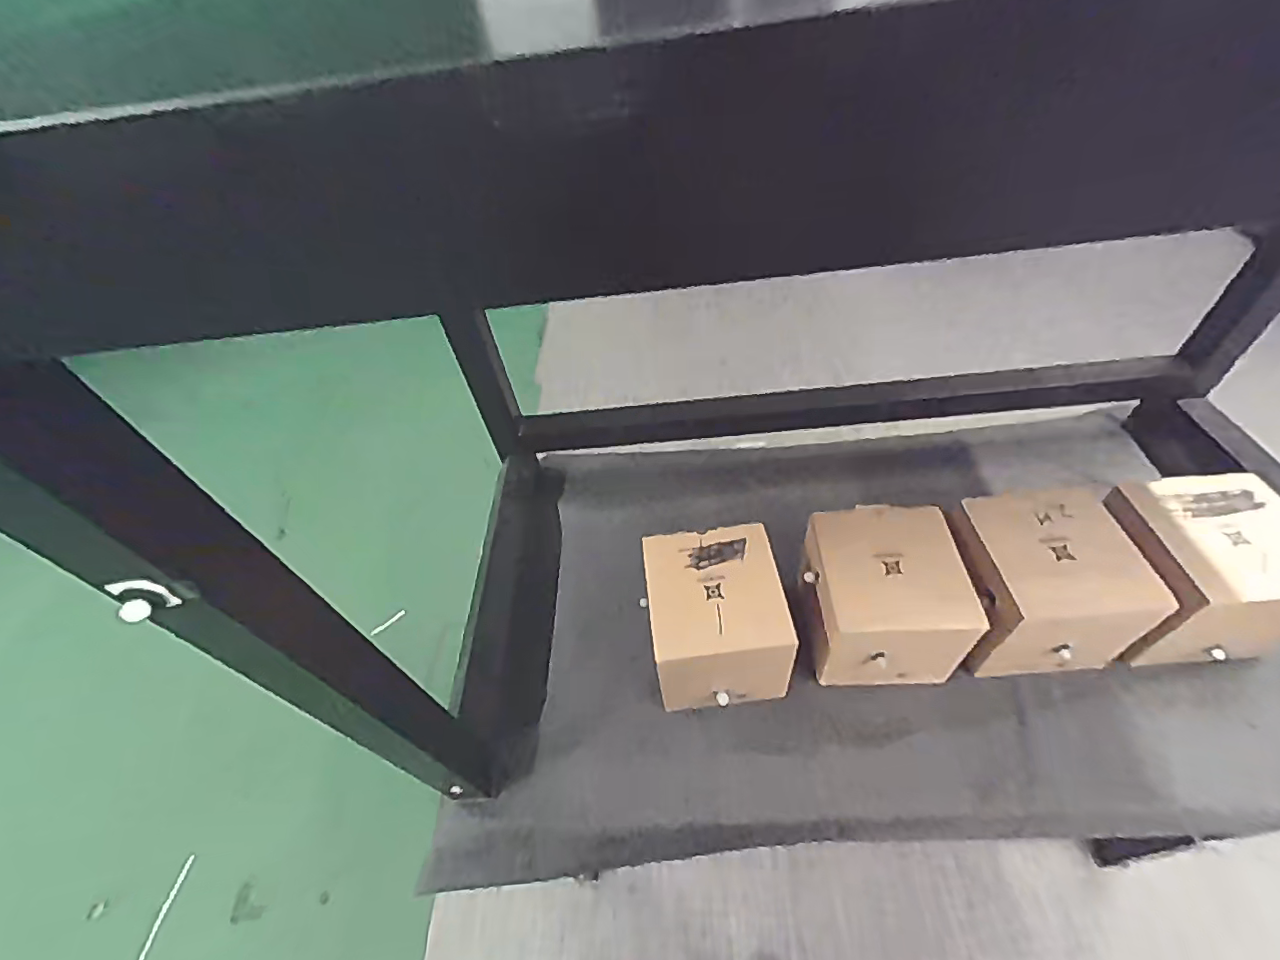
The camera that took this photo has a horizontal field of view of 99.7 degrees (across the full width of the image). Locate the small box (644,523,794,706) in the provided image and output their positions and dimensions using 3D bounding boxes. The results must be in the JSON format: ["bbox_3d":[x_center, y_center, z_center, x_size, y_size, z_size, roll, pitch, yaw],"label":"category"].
[{"bbox_3d":[0.098,0.185,0.738,0.168,0.176,0.179,-8,49,1],"label":"small box"}]
